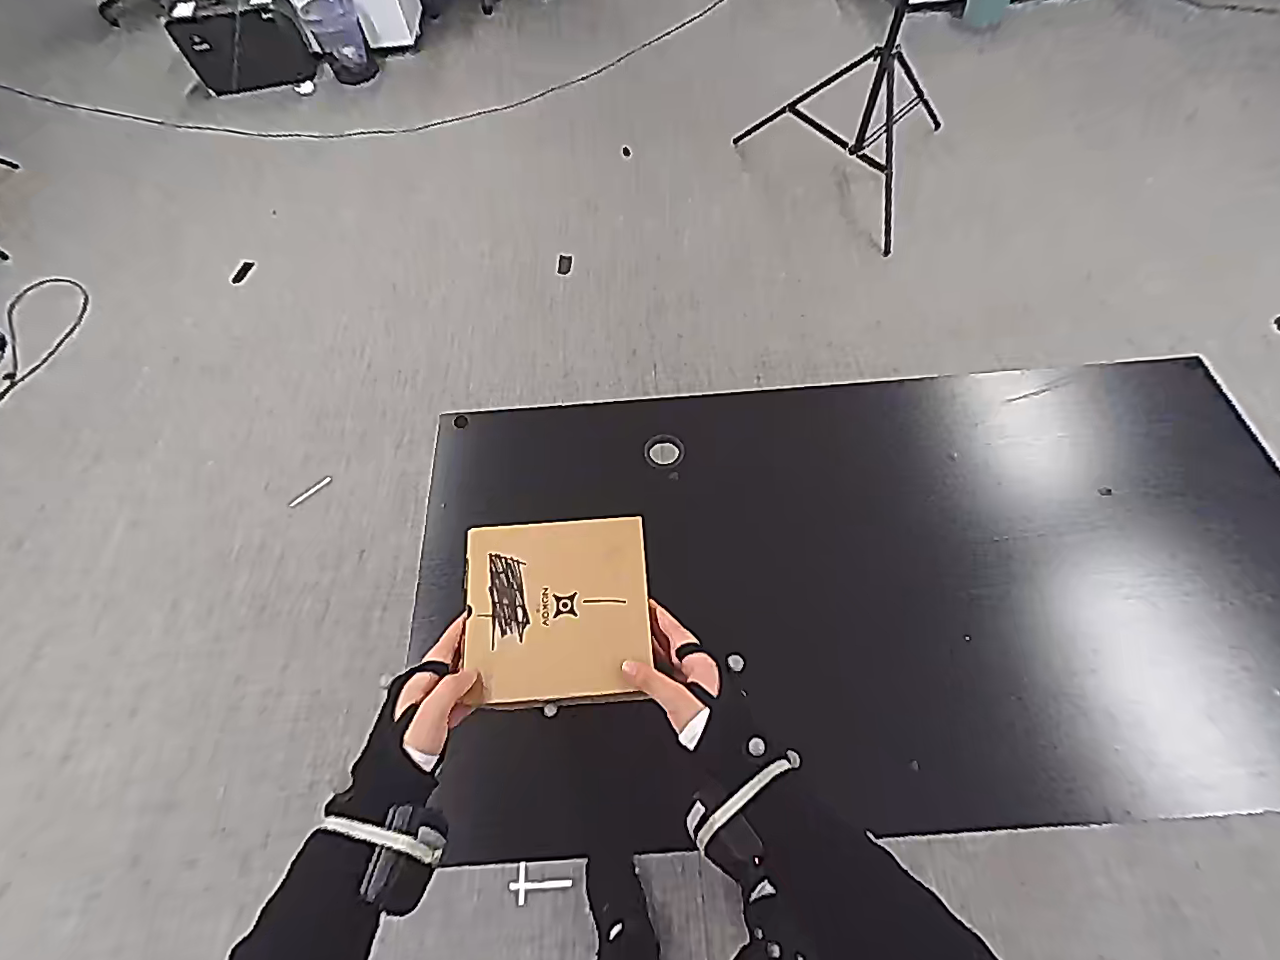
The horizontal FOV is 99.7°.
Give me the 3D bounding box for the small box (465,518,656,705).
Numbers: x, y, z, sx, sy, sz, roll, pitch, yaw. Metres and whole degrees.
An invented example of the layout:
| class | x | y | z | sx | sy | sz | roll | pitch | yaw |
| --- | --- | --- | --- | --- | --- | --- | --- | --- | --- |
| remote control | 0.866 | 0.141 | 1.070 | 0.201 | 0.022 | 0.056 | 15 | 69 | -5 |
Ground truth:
| class | x | y | z | sx | sy | sz | roll | pitch | yaw |
| --- | --- | --- | --- | --- | --- | --- | --- | --- | --- |
| small box | -0.075 | 0.151 | 0.592 | 0.179 | 0.176 | 0.168 | -4 | 66 | -1 |
